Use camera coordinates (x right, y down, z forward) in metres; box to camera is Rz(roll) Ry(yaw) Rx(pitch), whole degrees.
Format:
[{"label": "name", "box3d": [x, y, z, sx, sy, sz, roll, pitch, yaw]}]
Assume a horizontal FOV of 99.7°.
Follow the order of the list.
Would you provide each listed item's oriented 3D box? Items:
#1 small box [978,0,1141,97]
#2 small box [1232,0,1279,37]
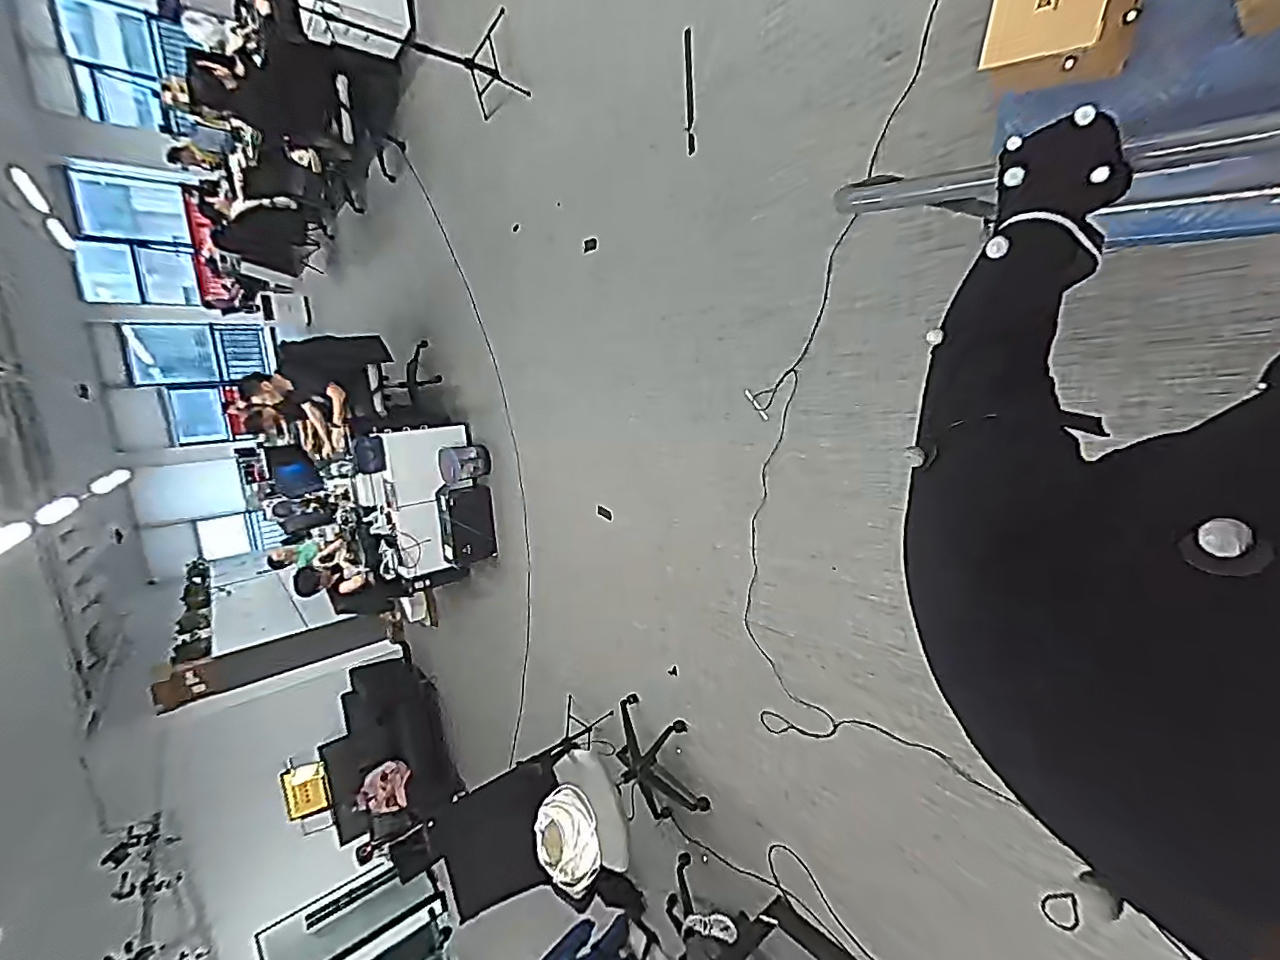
[{"label": "small box", "box3d": [0.731, -0.797, 0.939, 0.179, 0.176, 0.168, 23, 117, 44]}, {"label": "small box", "box3d": [0.928, -0.733, 0.709, 0.179, 0.176, 0.168, 13, 110, 49]}]
